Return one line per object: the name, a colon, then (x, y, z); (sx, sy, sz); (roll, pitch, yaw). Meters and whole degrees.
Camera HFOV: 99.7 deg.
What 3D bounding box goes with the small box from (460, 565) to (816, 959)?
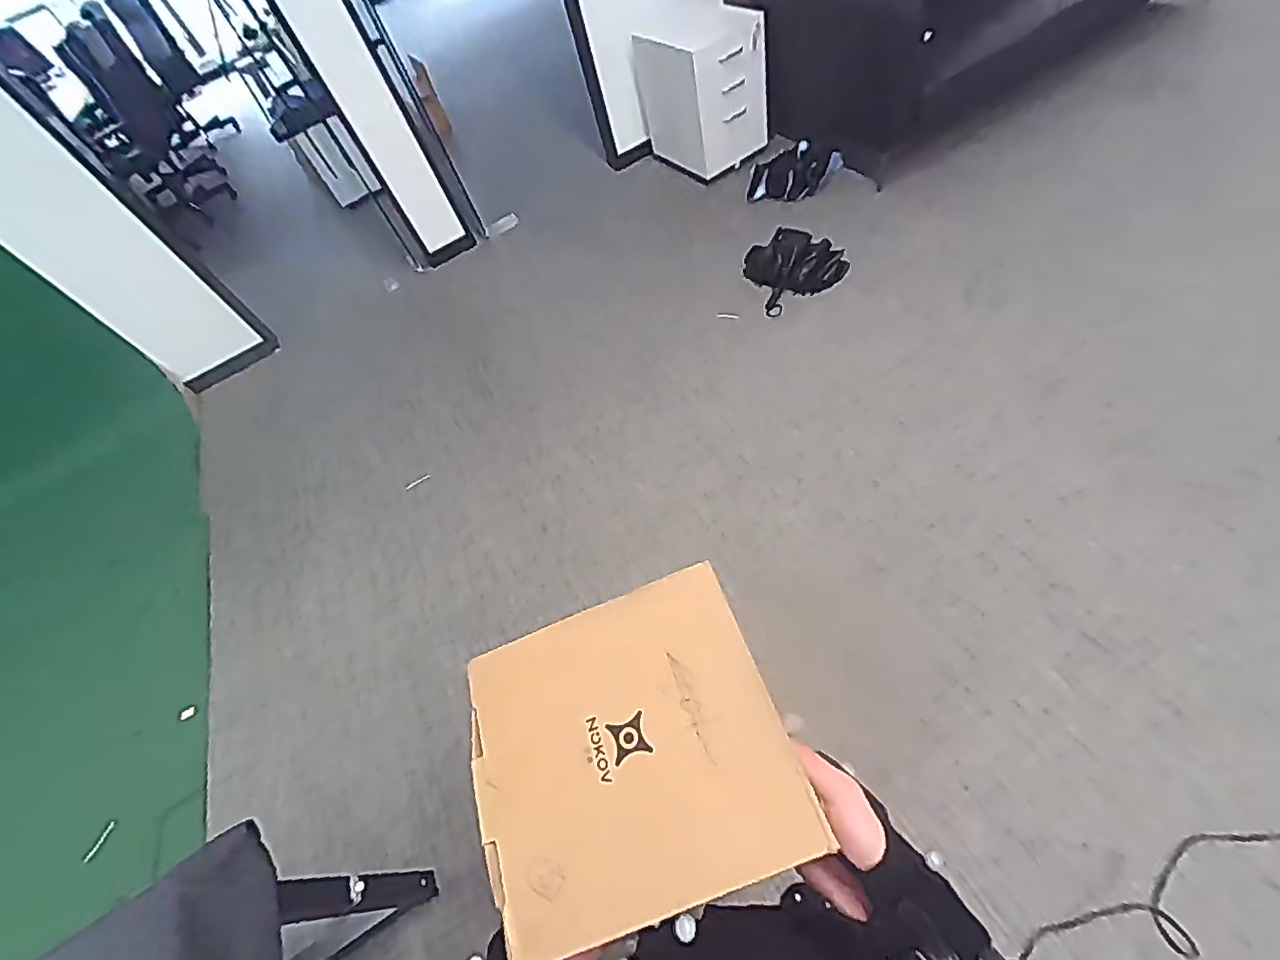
small box: (0.004, 0.190, 0.375); (0.179, 0.176, 0.168); (-24, 57, 1)
